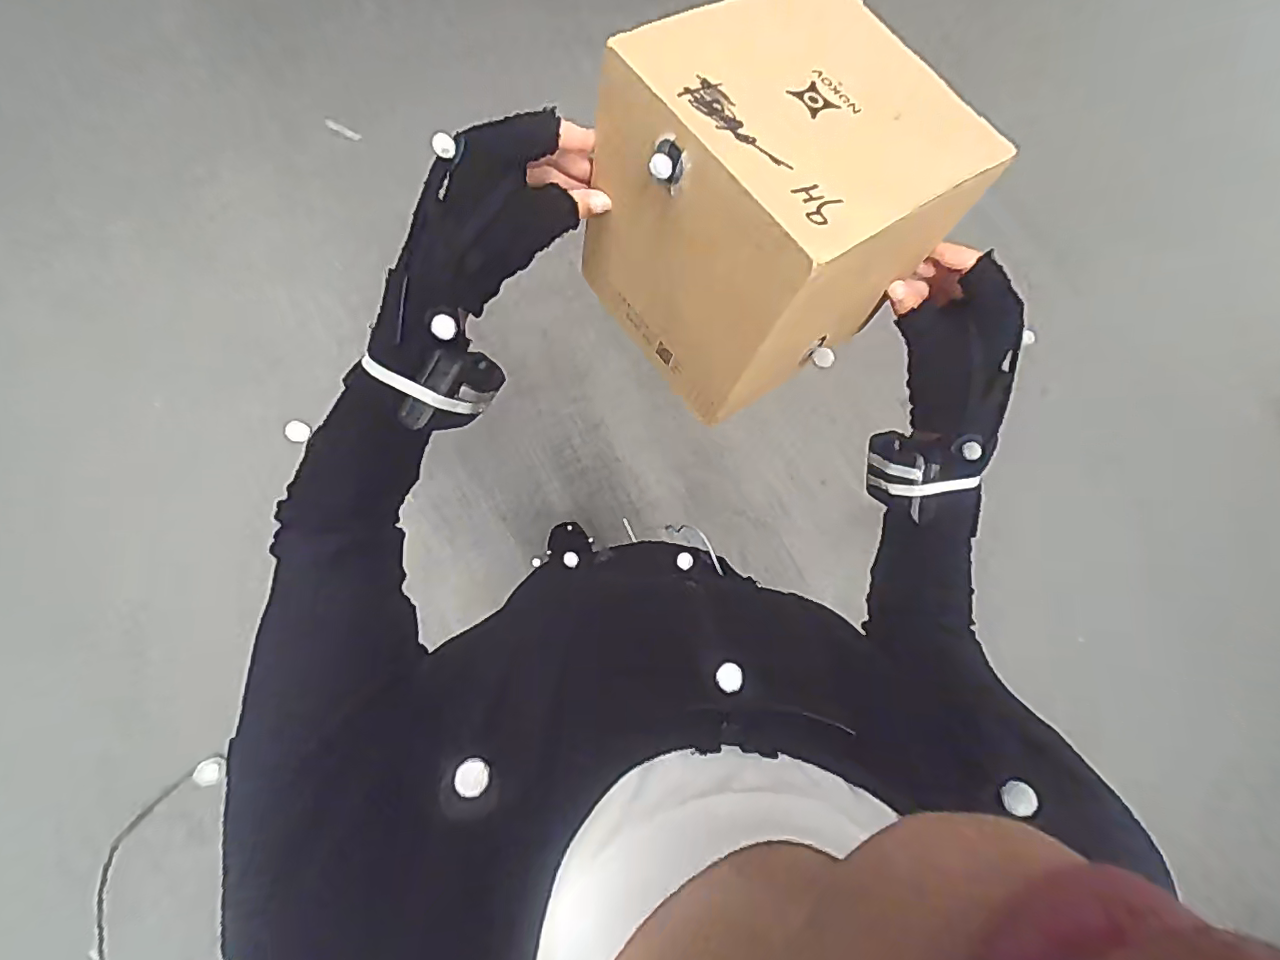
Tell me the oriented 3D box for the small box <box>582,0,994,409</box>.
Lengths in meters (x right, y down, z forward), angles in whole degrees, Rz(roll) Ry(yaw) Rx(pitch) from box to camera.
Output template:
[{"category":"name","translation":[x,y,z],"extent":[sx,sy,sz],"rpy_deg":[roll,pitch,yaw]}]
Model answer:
[{"category":"small box","translation":[0.078,-0.181,0.370],"extent":[0.179,0.176,0.168],"rpy_deg":[-33,78,-22]}]
